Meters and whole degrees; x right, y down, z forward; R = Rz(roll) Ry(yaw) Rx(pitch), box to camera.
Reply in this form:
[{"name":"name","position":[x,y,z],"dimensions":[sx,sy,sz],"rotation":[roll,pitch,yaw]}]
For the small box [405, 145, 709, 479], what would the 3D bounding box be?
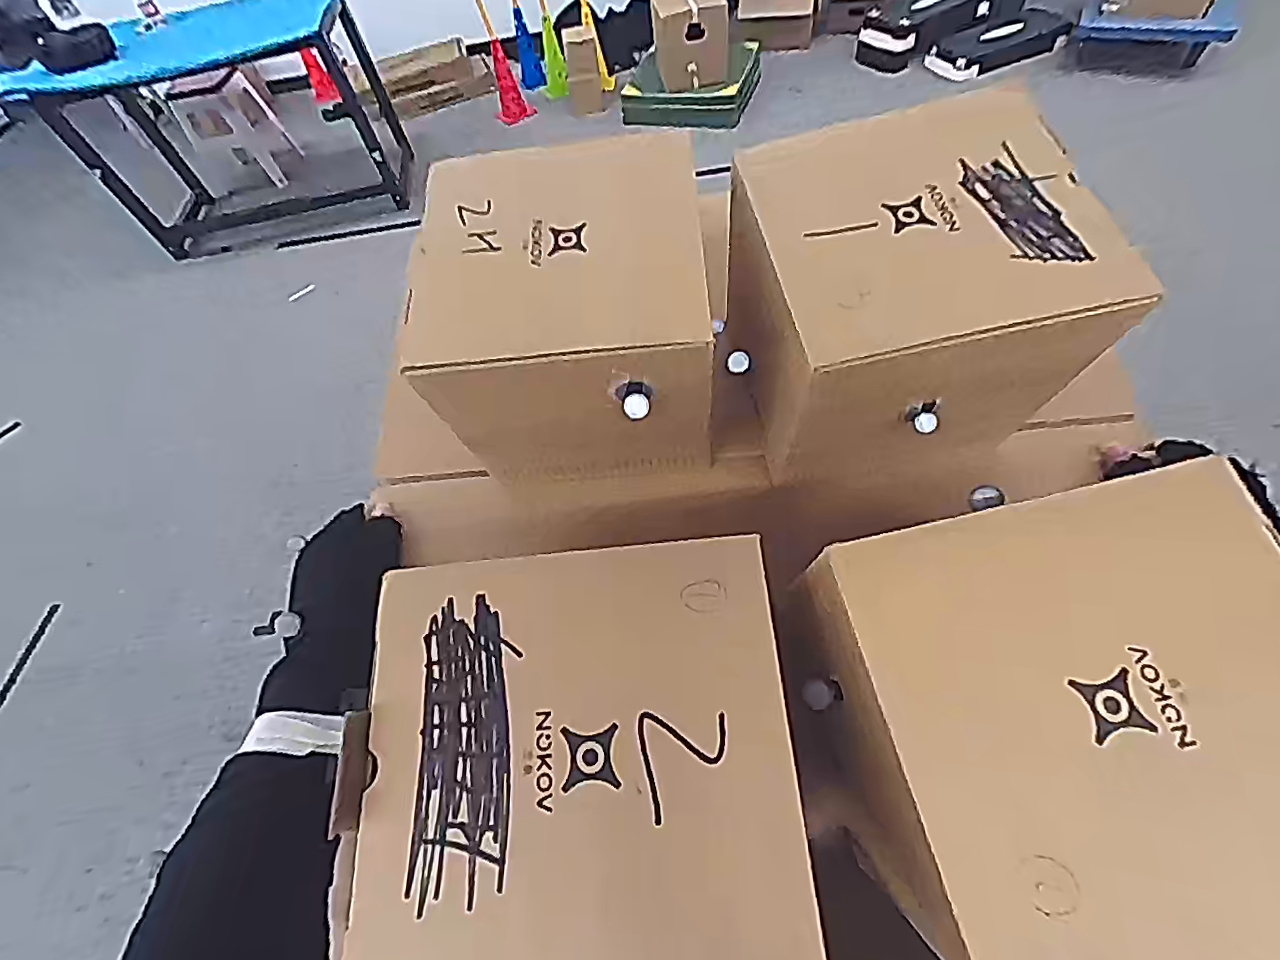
[{"name":"small box","position":[-0.042,-0.109,0.406],"dimensions":[0.179,0.176,0.168],"rotation":[-4,66,6]}]
